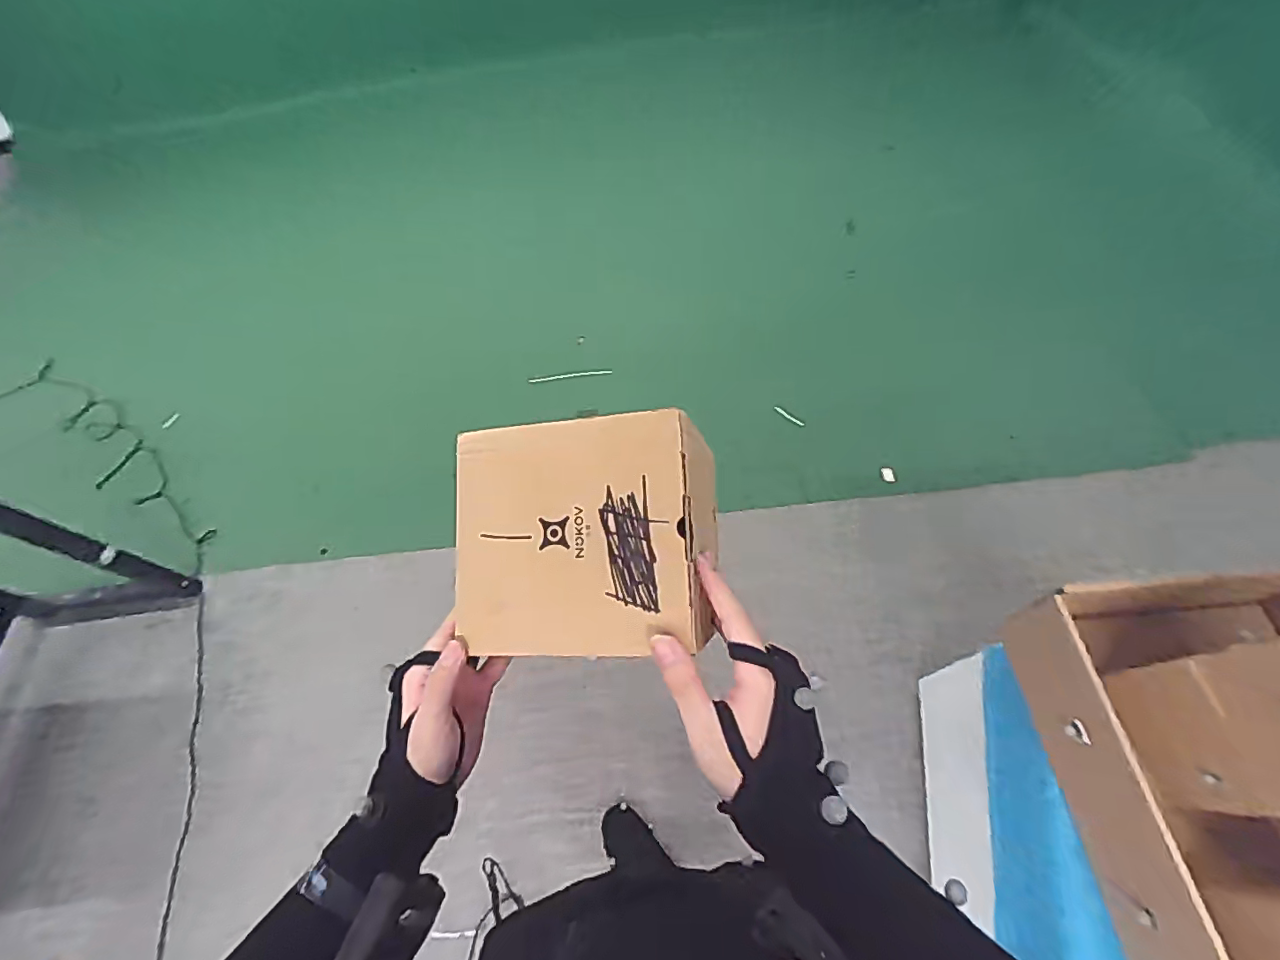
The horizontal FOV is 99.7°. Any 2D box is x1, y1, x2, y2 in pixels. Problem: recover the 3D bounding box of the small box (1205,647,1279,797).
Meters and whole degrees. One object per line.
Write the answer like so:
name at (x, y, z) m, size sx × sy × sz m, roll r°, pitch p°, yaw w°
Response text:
small box at (0.772, 0.251, 0.557) m, size 0.168 × 0.176 × 0.179 m, roll -10°, pitch 61°, yaw 0°
